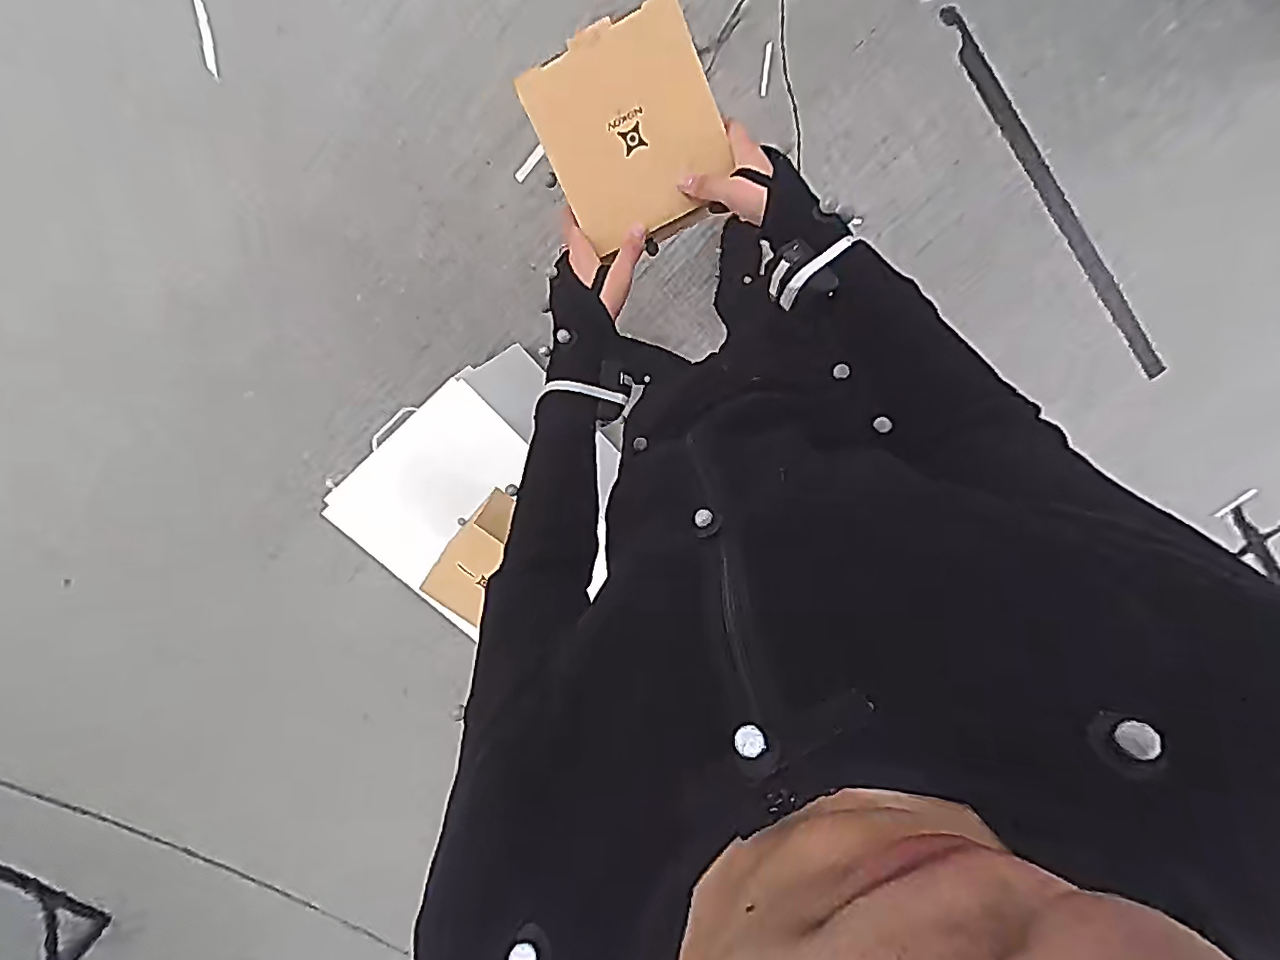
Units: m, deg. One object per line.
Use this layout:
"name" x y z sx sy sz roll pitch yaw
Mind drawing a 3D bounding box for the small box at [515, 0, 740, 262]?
"small box" -0.006 -0.355 0.592 0.168 0.176 0.179 -24 105 9

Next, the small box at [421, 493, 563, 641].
"small box" -0.260 0.151 0.998 0.179 0.176 0.168 39 104 -14
